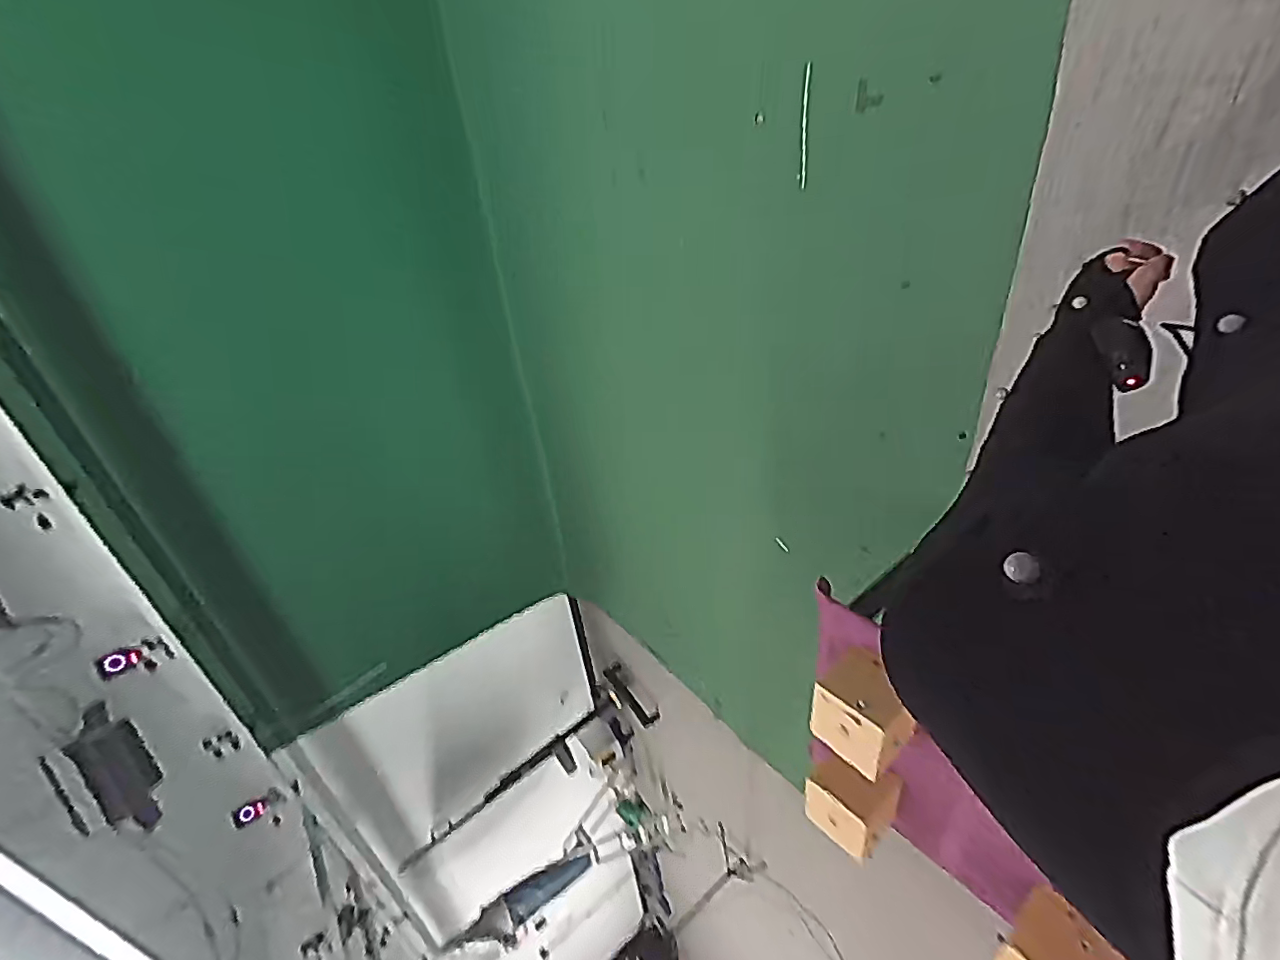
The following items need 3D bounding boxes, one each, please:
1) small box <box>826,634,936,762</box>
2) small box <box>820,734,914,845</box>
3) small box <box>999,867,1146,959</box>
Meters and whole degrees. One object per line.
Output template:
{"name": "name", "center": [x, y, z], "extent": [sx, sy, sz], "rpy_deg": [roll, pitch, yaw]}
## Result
{"name": "small box", "center": [0.553, 0.496, 1.248], "extent": [0.168, 0.176, 0.179], "rpy_deg": [29, 137, 45]}
{"name": "small box", "center": [0.599, 0.799, 1.428], "extent": [0.168, 0.176, 0.179], "rpy_deg": [25, 133, 46]}
{"name": "small box", "center": [0.874, 0.948, 1.096], "extent": [0.168, 0.176, 0.179], "rpy_deg": [32, 137, 46]}
